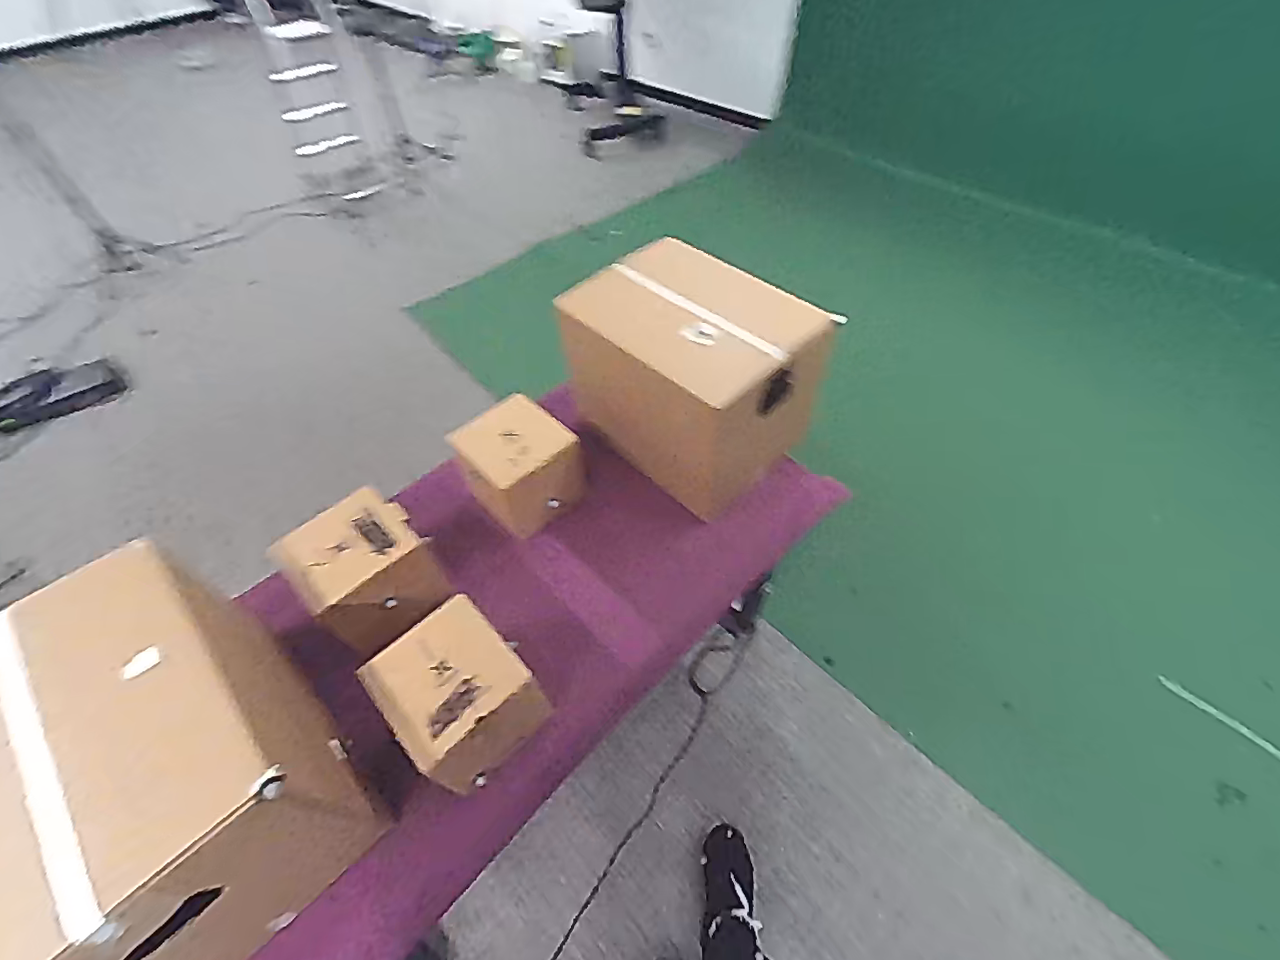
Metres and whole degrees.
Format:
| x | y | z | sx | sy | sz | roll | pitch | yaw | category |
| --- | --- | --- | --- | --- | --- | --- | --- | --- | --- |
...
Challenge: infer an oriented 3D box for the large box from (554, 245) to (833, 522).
| x | y | z | sx | sy | sz | roll | pitch | yaw | category |
| --- | --- | --- | --- | --- | --- | --- | --- | --- | --- |
| 0.089 | -0.197 | 1.071 | 0.320 | 0.320 | 0.408 | -39 | 60 | -23 | large box |

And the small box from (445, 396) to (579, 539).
| x | y | z | sx | sy | sz | roll | pitch | yaw | category |
| --- | --- | --- | --- | --- | --- | --- | --- | --- | --- |
| -0.235 | -0.021 | 1.028 | 0.168 | 0.176 | 0.179 | -38 | 60 | -25 | small box |
